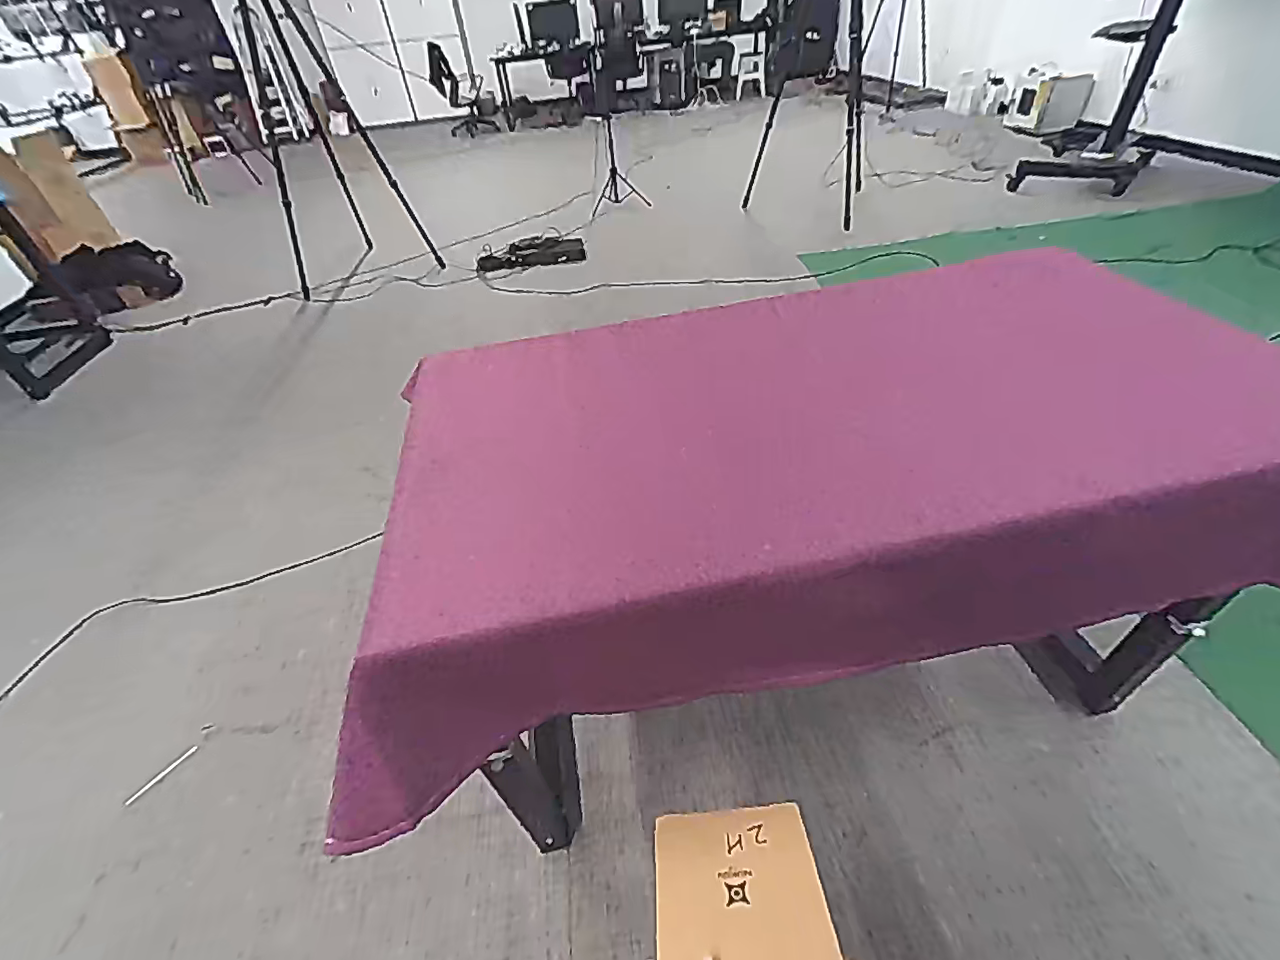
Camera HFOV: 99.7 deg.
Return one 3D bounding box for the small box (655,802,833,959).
[{"bbox_3d":[0.114,0.489,0.580,0.168,0.176,0.179,-8,15,7],"label":"small box"}]
